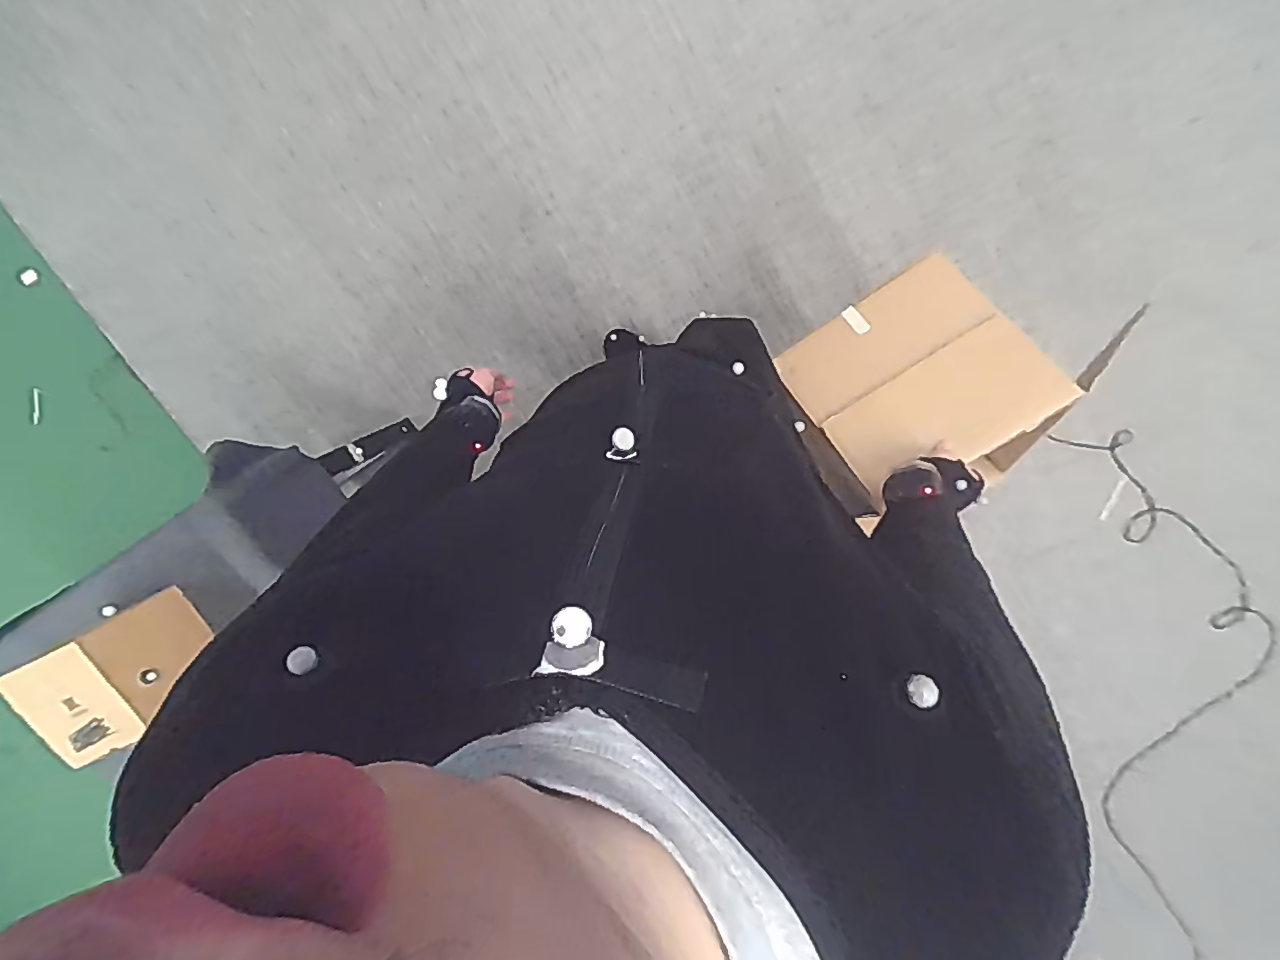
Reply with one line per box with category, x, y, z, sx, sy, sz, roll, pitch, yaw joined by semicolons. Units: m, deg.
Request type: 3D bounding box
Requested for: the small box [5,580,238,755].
small box;-0.808;0.293;0.867;0.168;0.176;0.179;-24;105;10
